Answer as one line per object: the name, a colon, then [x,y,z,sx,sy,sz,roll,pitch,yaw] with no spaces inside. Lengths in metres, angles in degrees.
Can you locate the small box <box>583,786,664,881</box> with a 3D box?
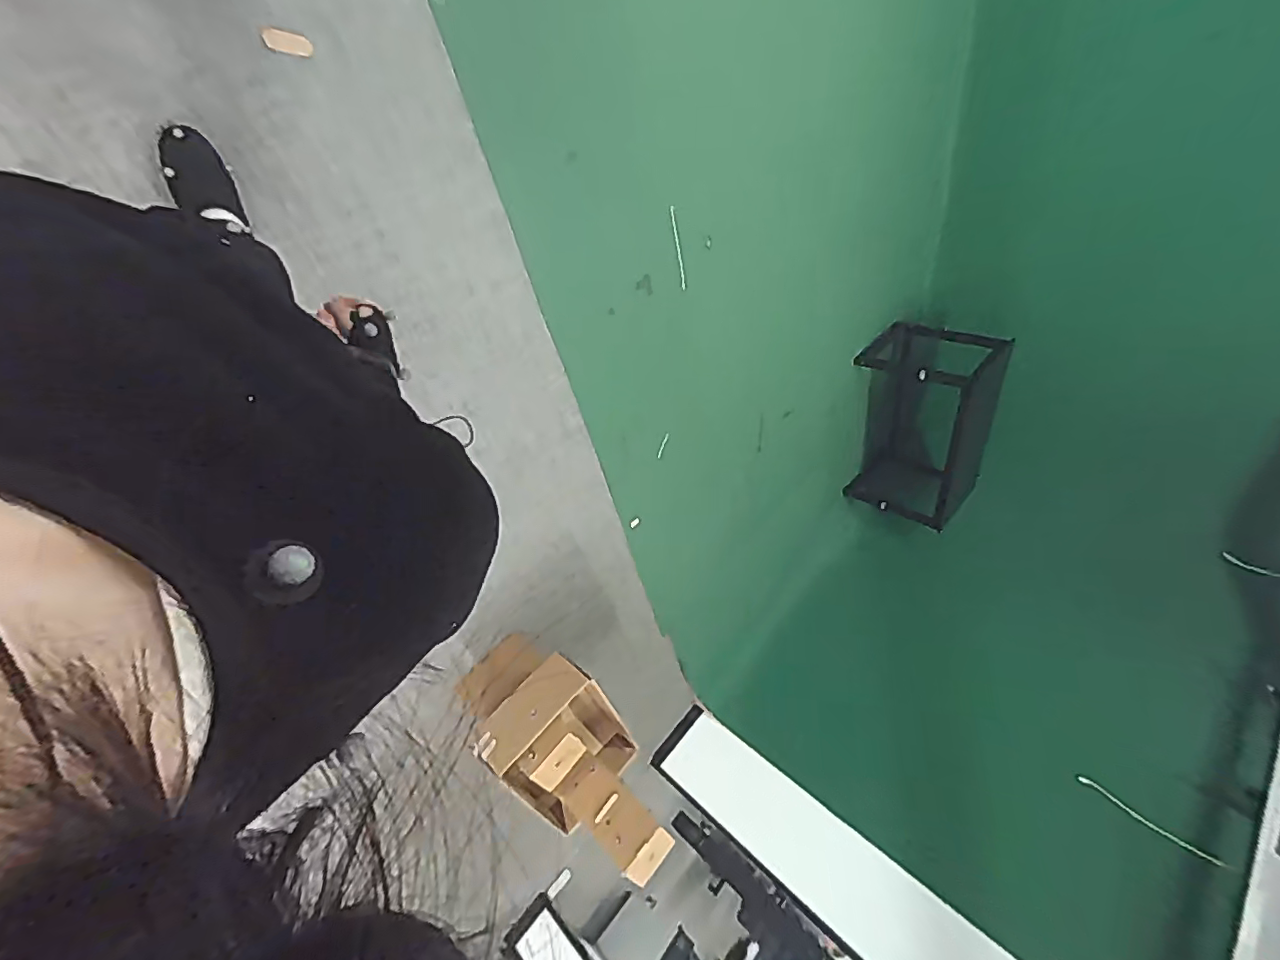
small box: [-0.055,1.115,1.717,0.168,0.176,0.179,-43,135,-22]

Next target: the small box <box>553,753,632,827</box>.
small box: [-0.162,1.058,1.826,0.168,0.176,0.179,-46,136,-21]
